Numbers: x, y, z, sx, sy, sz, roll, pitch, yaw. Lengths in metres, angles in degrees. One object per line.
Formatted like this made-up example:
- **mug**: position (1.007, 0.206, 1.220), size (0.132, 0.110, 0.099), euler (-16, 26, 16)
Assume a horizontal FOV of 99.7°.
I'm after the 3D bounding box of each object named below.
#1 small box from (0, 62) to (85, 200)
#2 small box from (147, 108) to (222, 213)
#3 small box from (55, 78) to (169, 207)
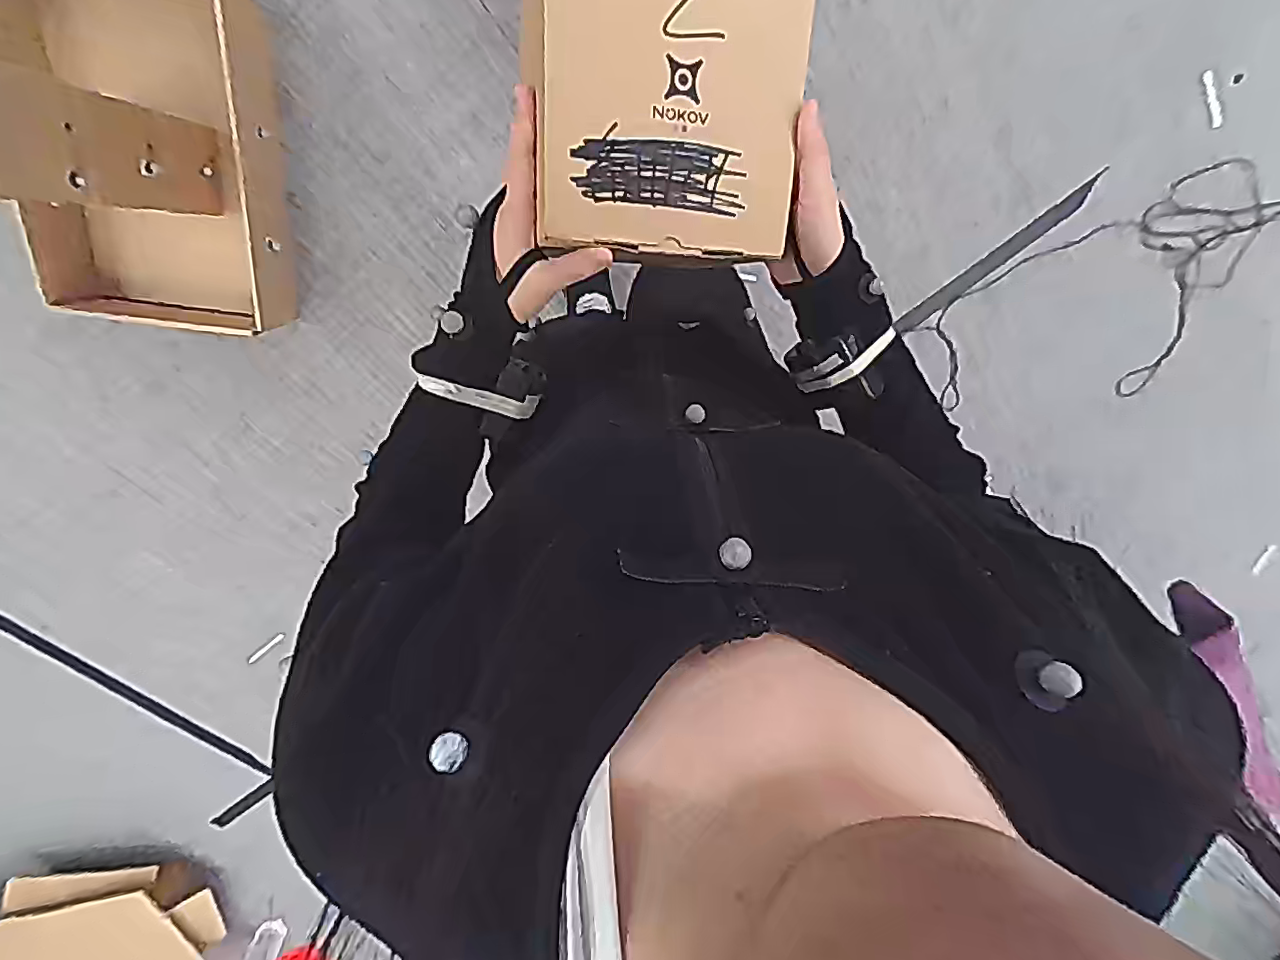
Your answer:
- **small box**: position (-0.924, -0.487, 0.737), size (0.179, 0.176, 0.168), euler (6, 113, -8)
- **small box**: position (-0.950, -0.619, 1.035), size (0.179, 0.176, 0.168), euler (8, 113, -10)
- **small box**: position (-0.935, -0.554, 0.887), size (0.179, 0.176, 0.168), euler (6, 114, -10)
